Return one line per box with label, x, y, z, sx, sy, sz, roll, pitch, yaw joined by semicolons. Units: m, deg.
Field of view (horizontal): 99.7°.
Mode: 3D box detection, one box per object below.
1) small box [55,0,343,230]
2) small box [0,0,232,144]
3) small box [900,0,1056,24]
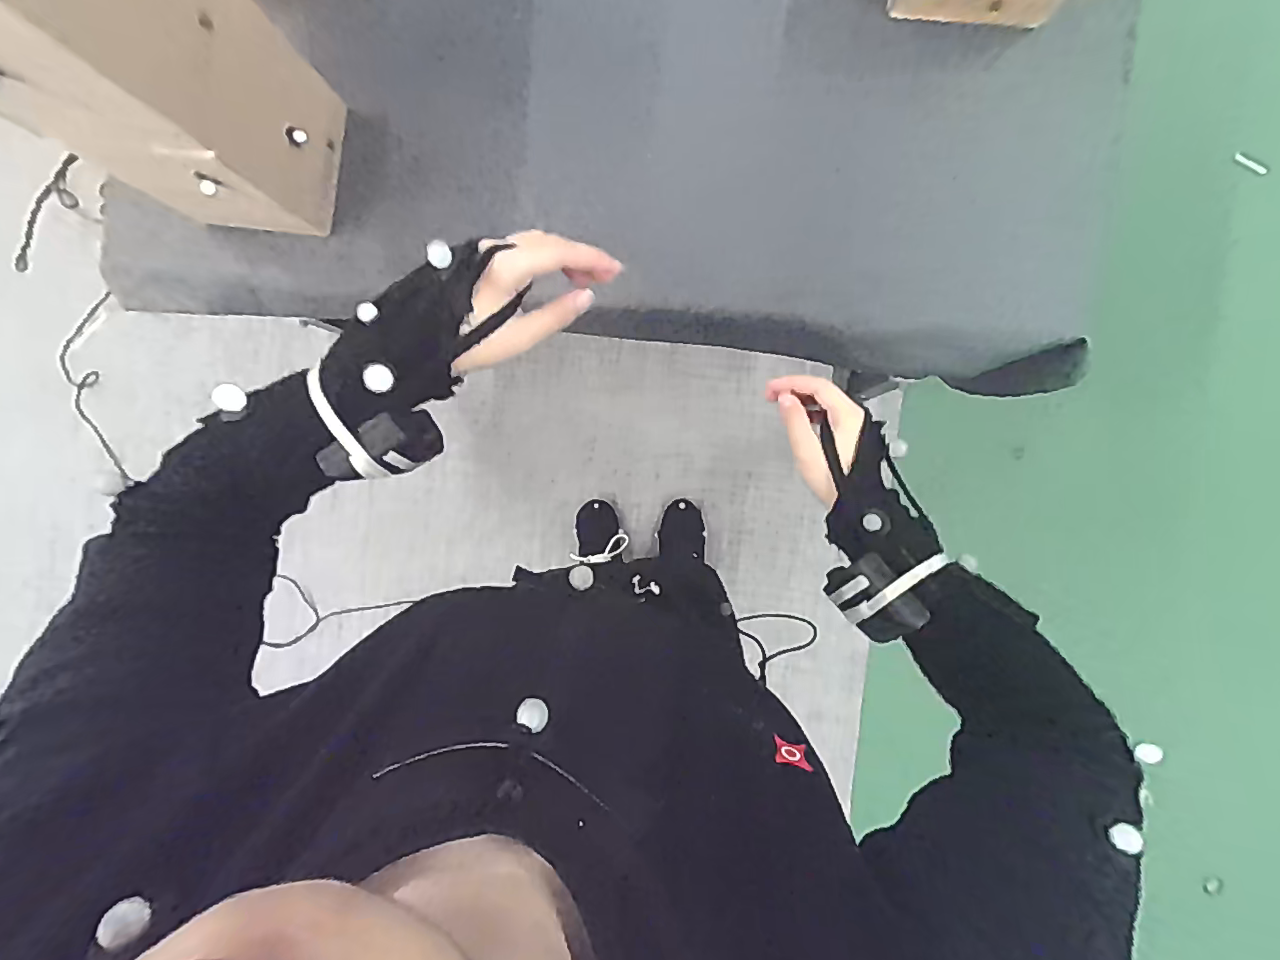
small box;-0.462;-0.396;0.594;0.179;0.176;0.168;8;91;5
small box;-0.480;-0.399;0.431;0.179;0.176;0.168;5;91;6
small box;0.361;-0.588;0.507;0.168;0.176;0.179;9;95;6
